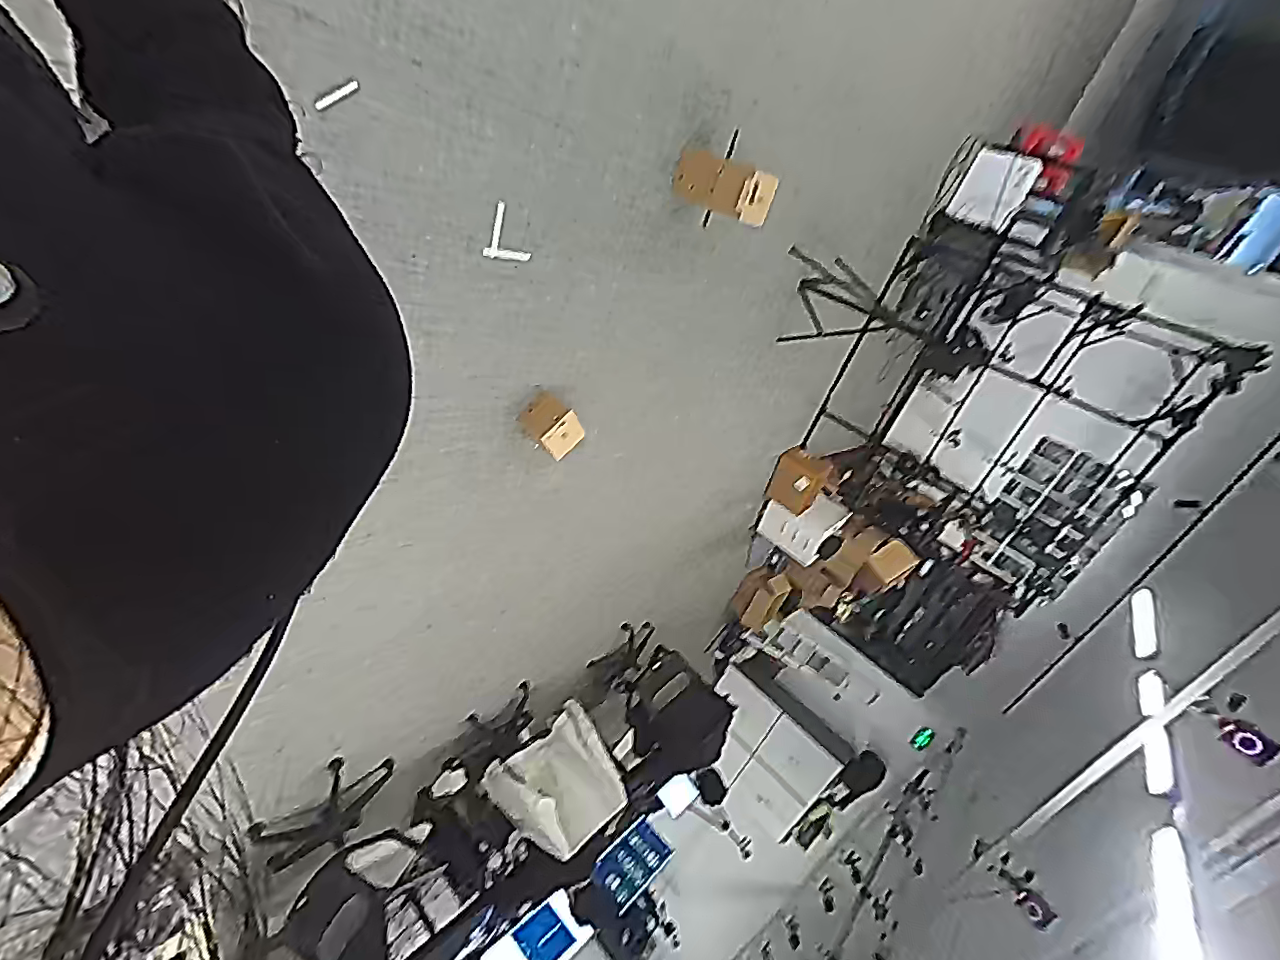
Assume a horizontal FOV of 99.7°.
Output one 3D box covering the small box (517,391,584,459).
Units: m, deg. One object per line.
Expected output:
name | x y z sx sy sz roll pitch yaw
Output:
small box | -0.359 -0.223 2.163 0.168 0.176 0.179 -45 150 -11

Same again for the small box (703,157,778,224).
small box | 0.356 -1.042 1.945 0.179 0.176 0.168 -18 137 -46

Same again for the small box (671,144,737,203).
small box | 0.244 -1.135 2.022 0.179 0.176 0.168 -19 138 -46
